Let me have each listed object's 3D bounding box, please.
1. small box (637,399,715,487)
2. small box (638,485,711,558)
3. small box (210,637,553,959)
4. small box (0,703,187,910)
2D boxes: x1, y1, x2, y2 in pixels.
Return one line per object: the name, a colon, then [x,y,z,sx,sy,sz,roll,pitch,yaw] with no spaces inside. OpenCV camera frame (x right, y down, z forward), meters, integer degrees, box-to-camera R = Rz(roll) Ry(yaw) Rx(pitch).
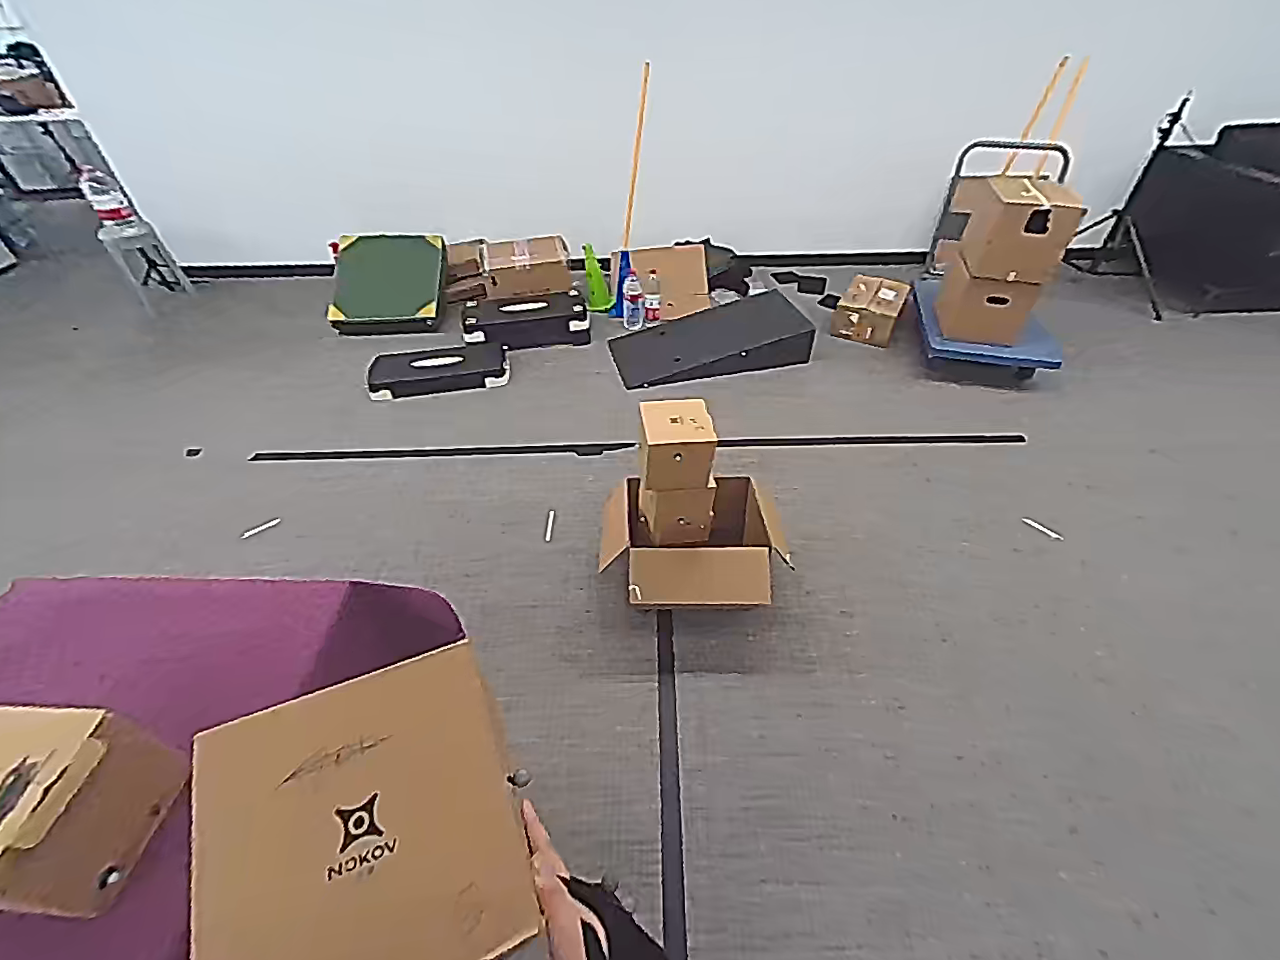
small box: [0.086,-0.094,1.421,0.179,0.176,0.168,-3,48,-7]
small box: [0.100,0.118,1.675,0.179,0.176,0.168,-14,48,-17]
small box: [-0.162,0.240,0.378,0.168,0.176,0.179,-15,59,-18]
small box: [-0.691,0.376,0.622,0.179,0.176,0.168,1,43,4]
